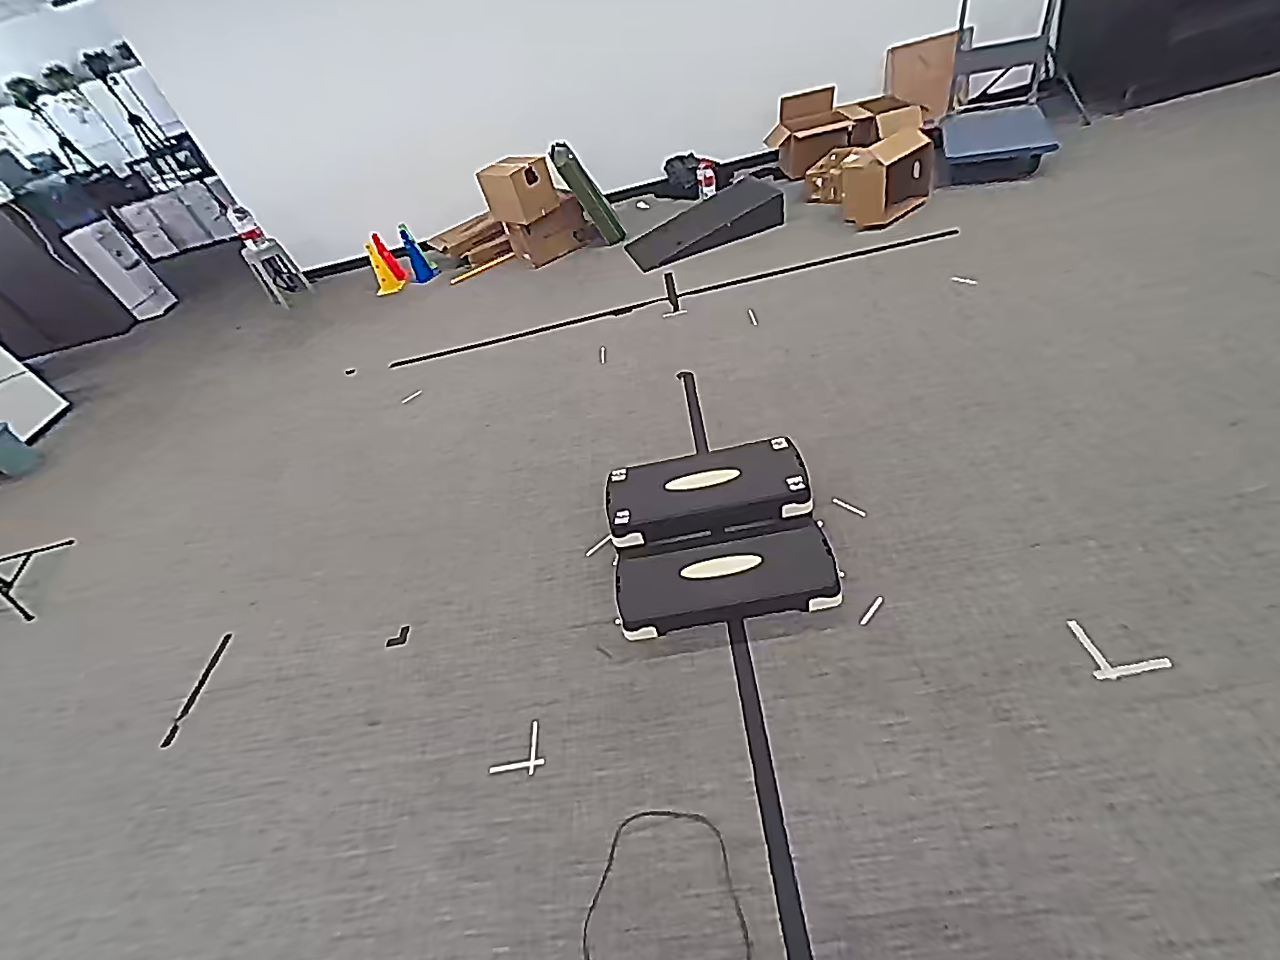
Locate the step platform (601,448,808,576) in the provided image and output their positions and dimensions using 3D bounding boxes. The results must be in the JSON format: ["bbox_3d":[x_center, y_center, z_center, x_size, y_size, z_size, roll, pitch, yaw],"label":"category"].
[{"bbox_3d":[0.208,0.103,1.841,0.684,0.204,0.286,-12,44,5],"label":"step platform"}]
